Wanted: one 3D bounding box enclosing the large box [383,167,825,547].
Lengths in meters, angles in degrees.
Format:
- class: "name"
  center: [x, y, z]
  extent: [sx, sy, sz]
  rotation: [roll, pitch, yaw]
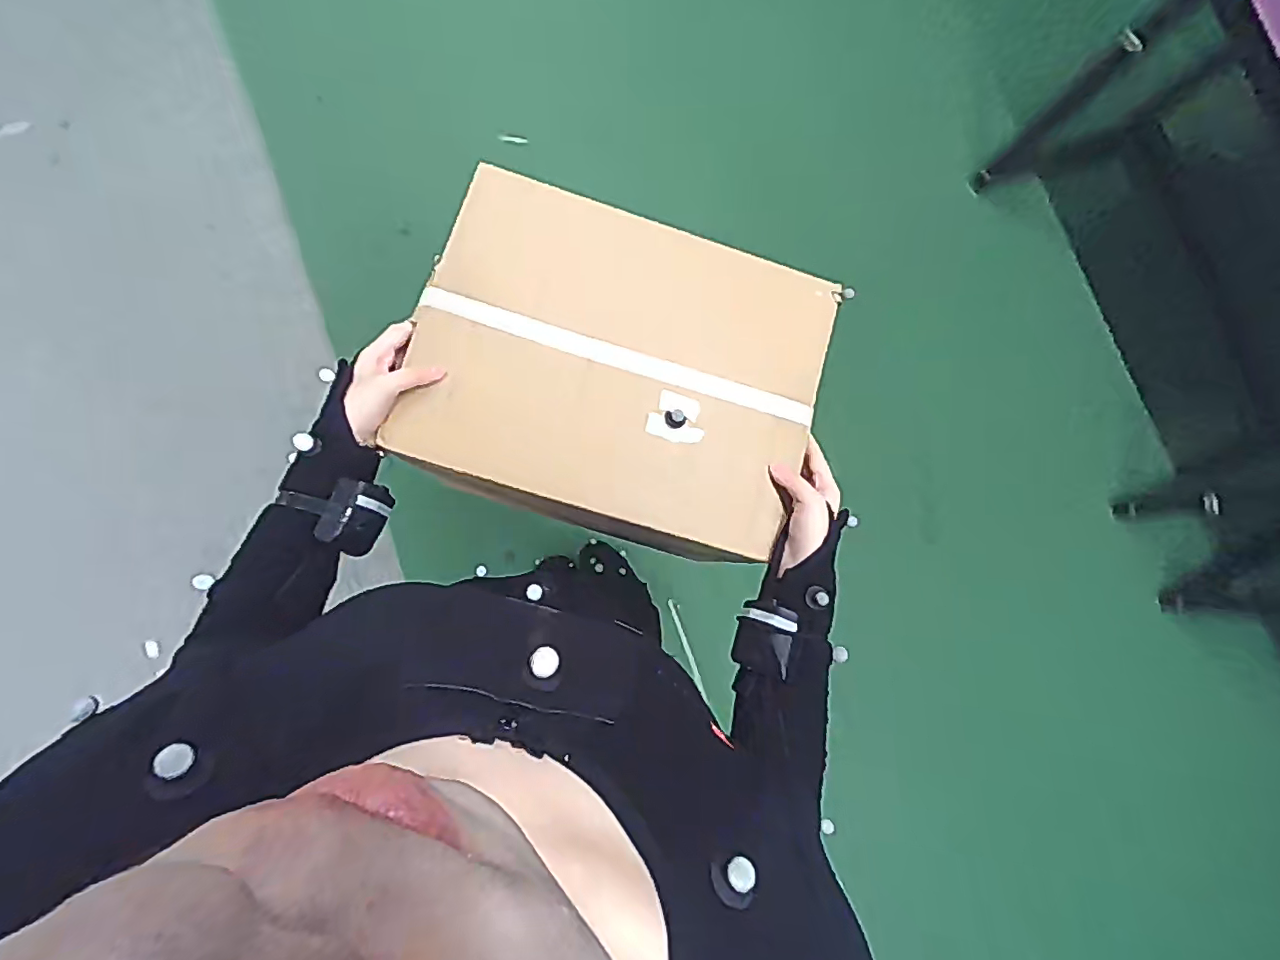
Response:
- class: "large box"
  center: [-0.042, -0.111, 0.699]
  extent: [0.408, 0.320, 0.320]
  rotation: [16, 81, -6]
